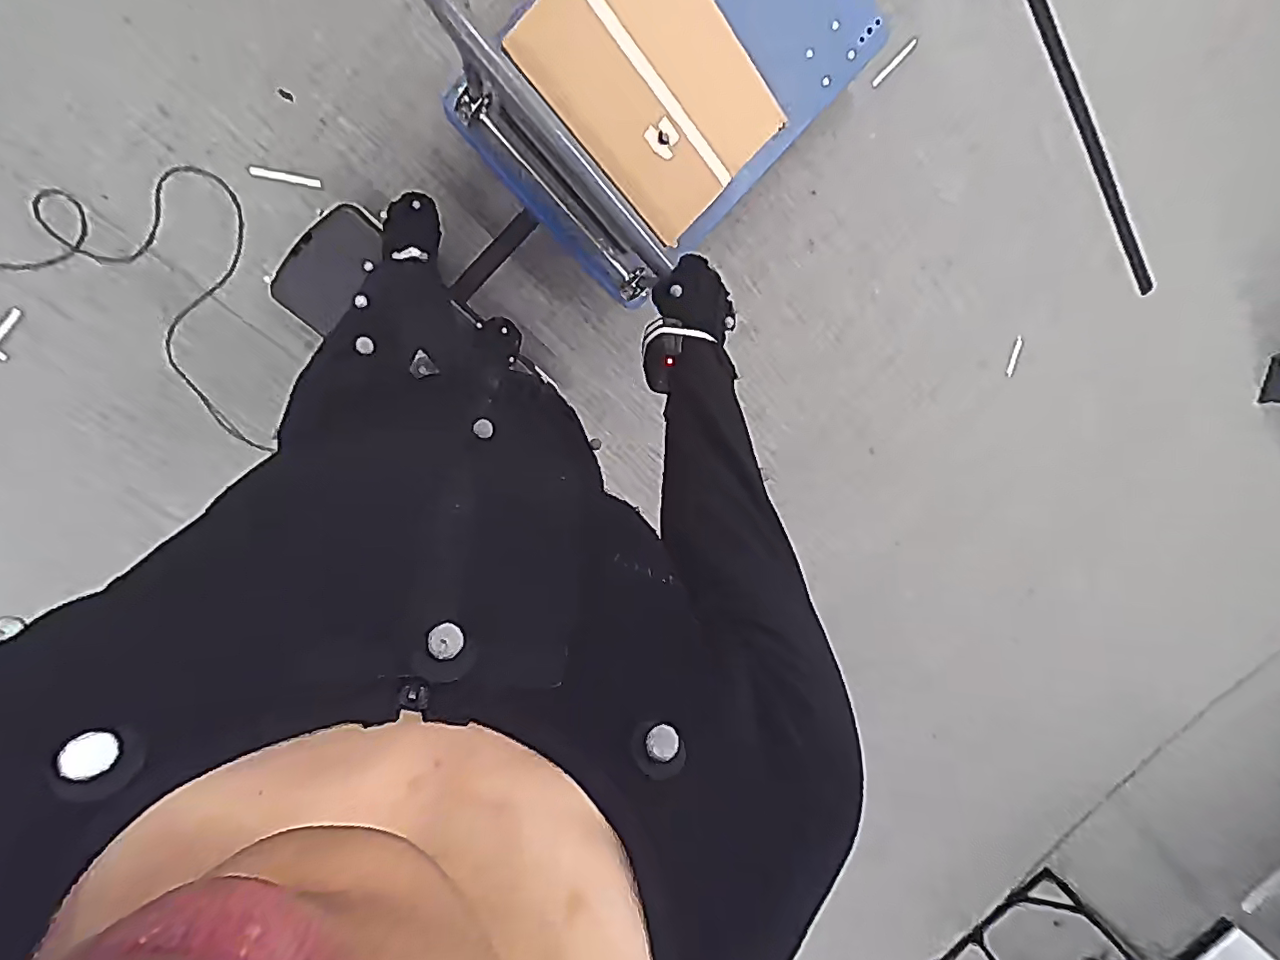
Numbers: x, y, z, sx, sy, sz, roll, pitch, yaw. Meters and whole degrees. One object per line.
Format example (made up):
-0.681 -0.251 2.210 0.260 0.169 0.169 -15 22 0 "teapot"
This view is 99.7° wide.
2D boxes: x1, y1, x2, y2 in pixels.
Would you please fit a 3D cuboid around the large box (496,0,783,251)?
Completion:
-0.018 -0.707 1.037 0.320 0.320 0.408 -46 116 5 "large box"
